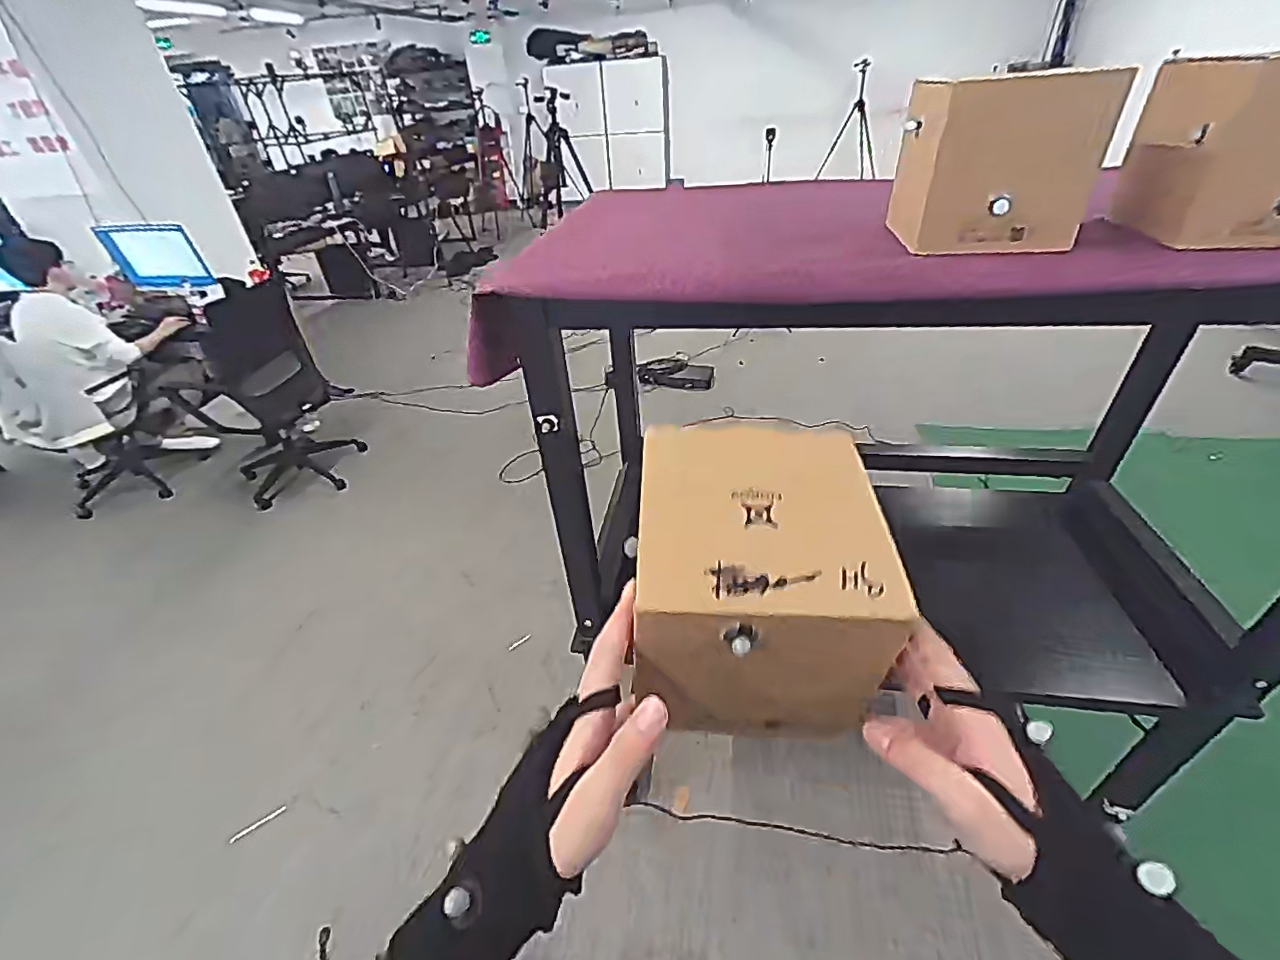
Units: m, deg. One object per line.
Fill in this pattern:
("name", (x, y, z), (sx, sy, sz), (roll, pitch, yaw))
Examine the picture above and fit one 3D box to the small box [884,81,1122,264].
("small box", (0.407, -0.369, 0.649), (0.168, 0.176, 0.179), (3, 37, 10))
